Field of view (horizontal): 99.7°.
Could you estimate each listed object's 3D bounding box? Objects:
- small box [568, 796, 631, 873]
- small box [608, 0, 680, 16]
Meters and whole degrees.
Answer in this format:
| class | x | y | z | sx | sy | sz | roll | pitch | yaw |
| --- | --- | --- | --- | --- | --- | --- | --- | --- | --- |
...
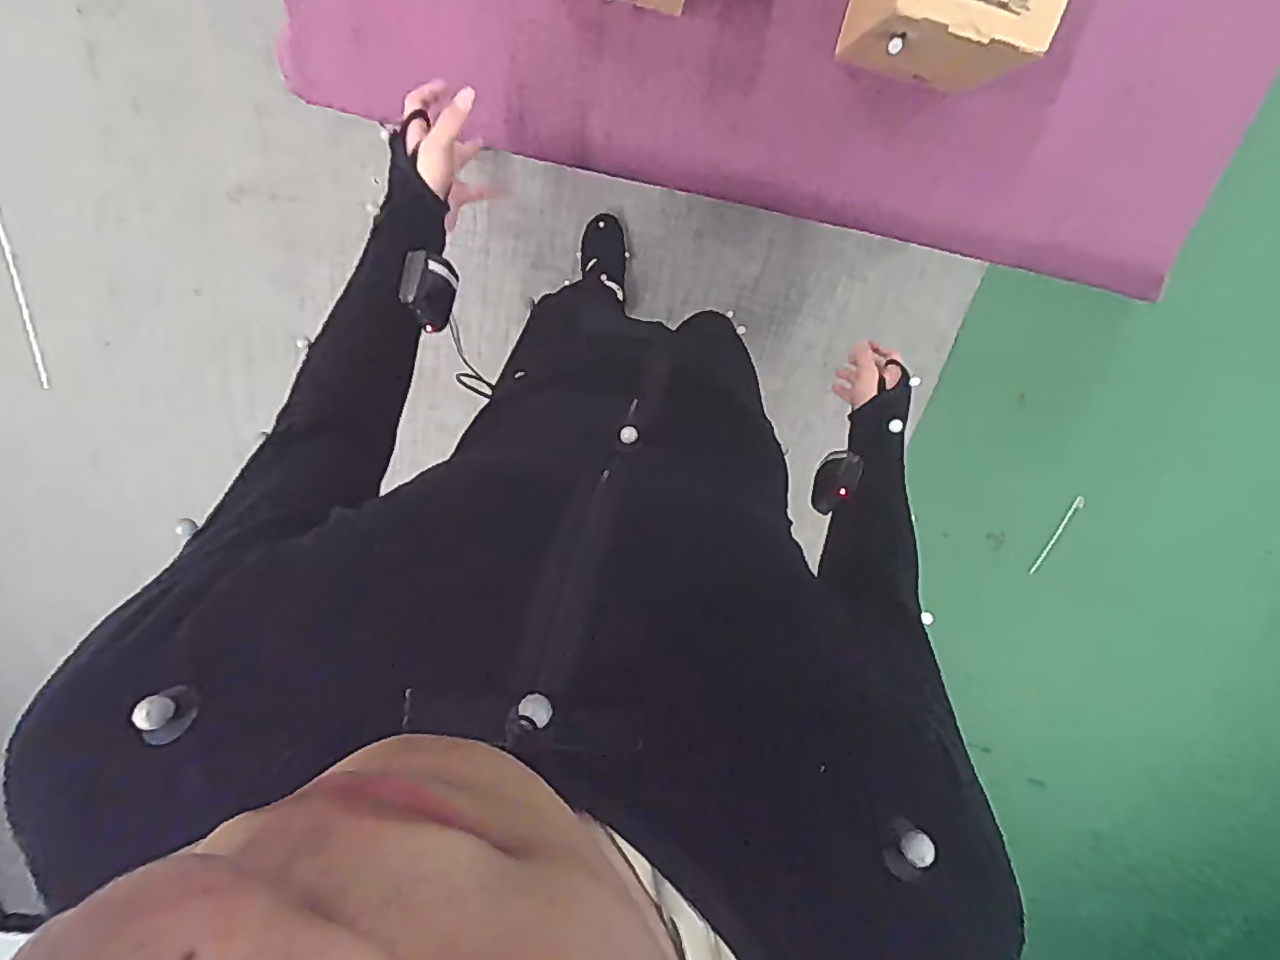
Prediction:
| class | x | y | z | sx | sy | sz | roll | pitch | yaw |
| --- | --- | --- | --- | --- | --- | --- | --- | --- | --- |
| small box | -0.136 | 1.194 | 1.816 | 0.179 | 0.176 | 0.168 | 13 | 115 | -9 |
| small box | -0.015 | -0.600 | 0.520 | 0.168 | 0.176 | 0.179 | 10 | 115 | -7 |
